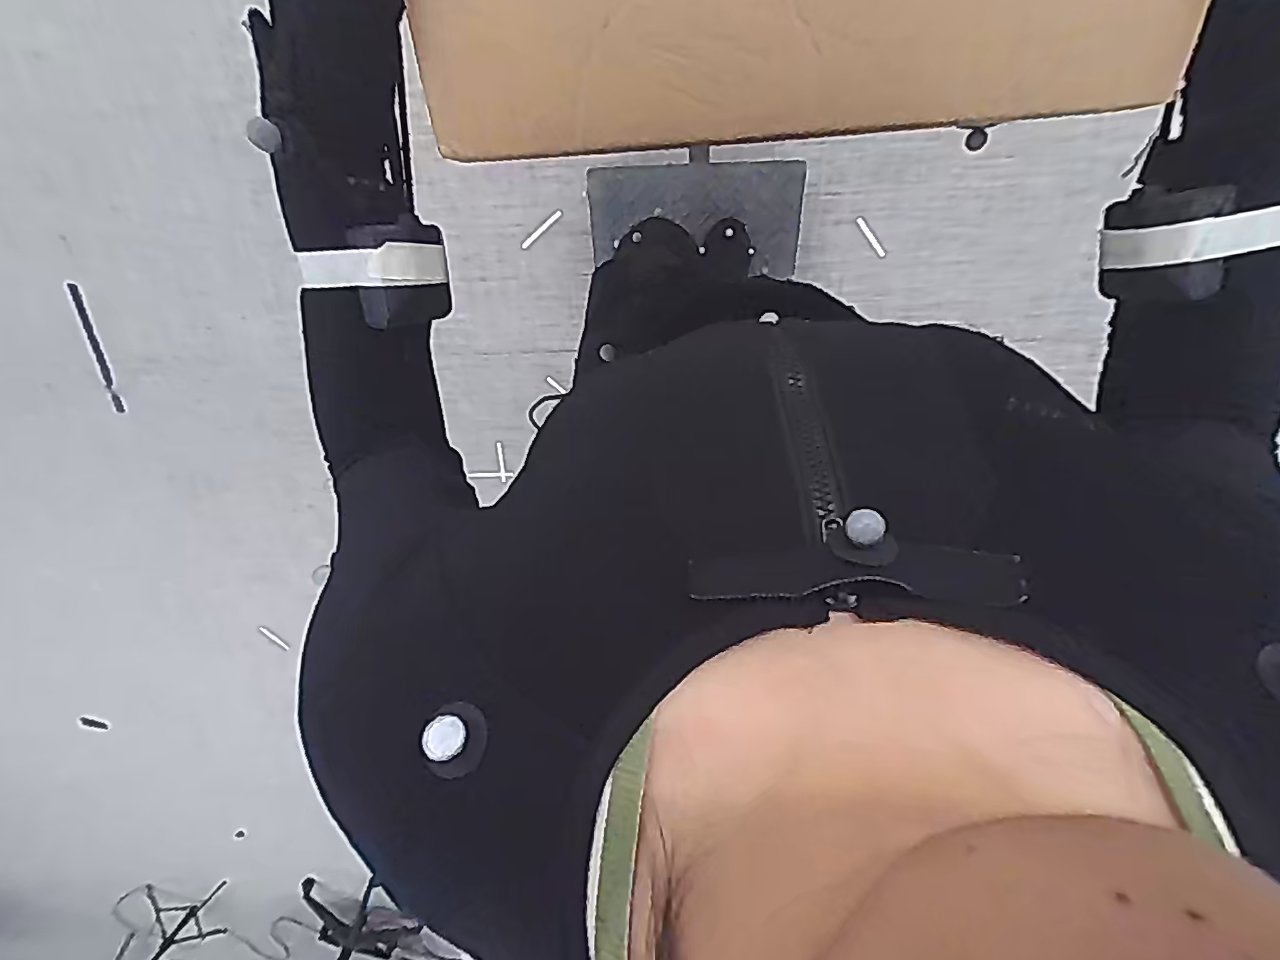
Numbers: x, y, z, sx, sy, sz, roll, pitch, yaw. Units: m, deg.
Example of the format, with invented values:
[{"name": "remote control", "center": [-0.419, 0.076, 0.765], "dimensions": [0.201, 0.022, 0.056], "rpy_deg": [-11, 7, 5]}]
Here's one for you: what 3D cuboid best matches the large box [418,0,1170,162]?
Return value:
[{"name": "large box", "center": [0.076, -0.412, 0.358], "dimensions": [0.408, 0.320, 0.320], "rpy_deg": [-3, 122, 2]}]
